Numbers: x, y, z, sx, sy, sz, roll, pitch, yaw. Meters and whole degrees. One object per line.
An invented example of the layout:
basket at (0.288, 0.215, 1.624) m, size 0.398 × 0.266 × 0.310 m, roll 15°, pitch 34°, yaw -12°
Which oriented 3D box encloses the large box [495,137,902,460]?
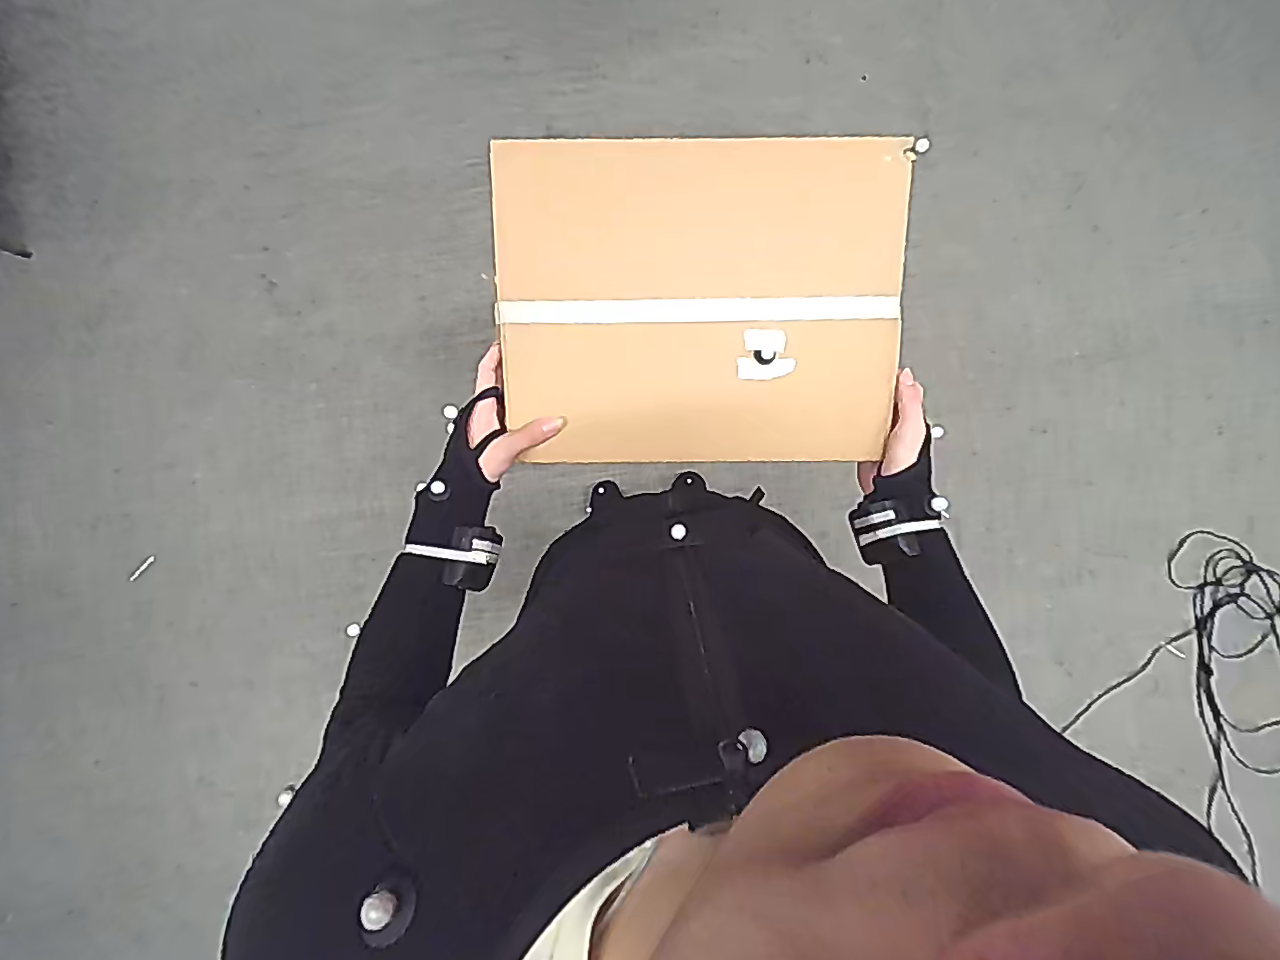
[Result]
large box at (0.057, -0.207, 0.698) m, size 0.408 × 0.320 × 0.320 m, roll -1°, pitch 102°, yaw -1°
